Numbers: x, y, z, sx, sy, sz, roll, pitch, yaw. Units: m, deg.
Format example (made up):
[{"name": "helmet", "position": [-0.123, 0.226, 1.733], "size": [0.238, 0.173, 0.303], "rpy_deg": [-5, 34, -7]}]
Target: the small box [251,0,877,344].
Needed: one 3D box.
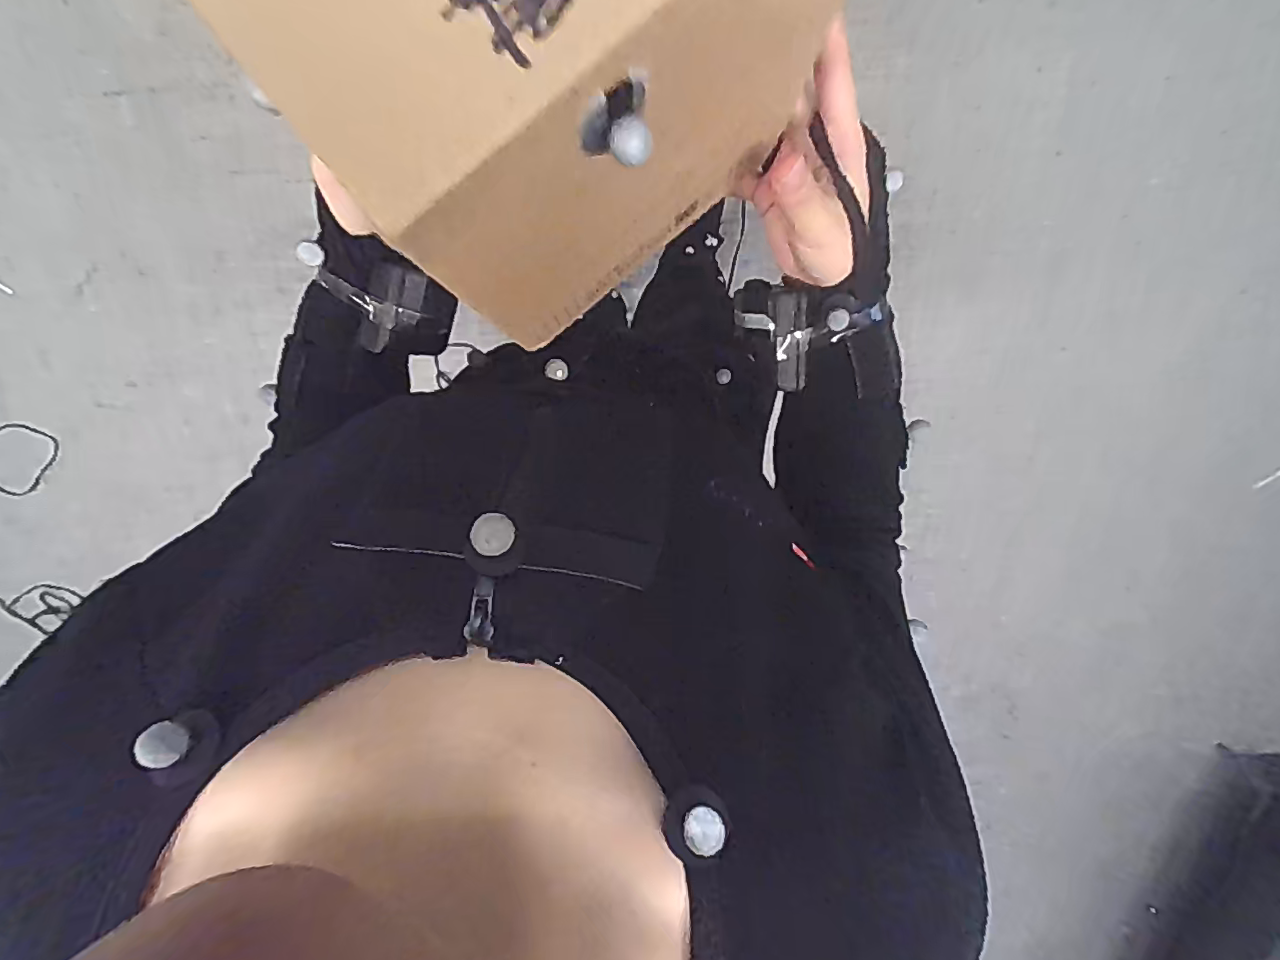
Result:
[{"name": "small box", "position": [-0.037, -0.178, 0.209], "size": [0.168, 0.176, 0.179], "rpy_deg": [-39, 93, 3]}]
